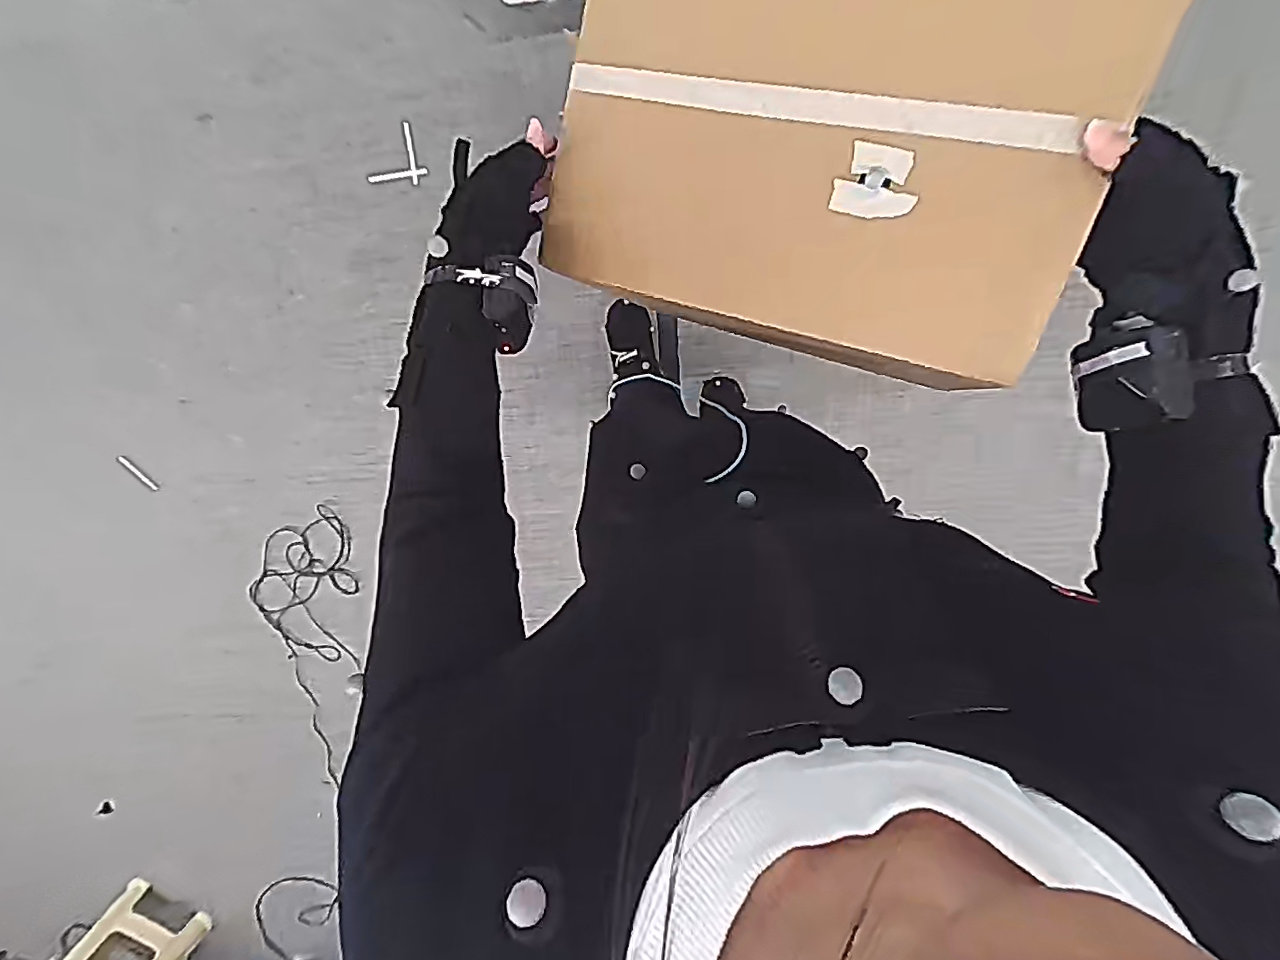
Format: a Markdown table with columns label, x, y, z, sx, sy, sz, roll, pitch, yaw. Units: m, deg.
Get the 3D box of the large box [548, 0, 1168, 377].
| label | x | y | z | sx | sy | sz | roll | pitch | yaw |
| --- | --- | --- | --- | --- | --- | --- | --- | --- | --- |
| large box | 0.178 | -0.305 | 0.546 | 0.408 | 0.320 | 0.320 | 20 | 106 | 18 |
